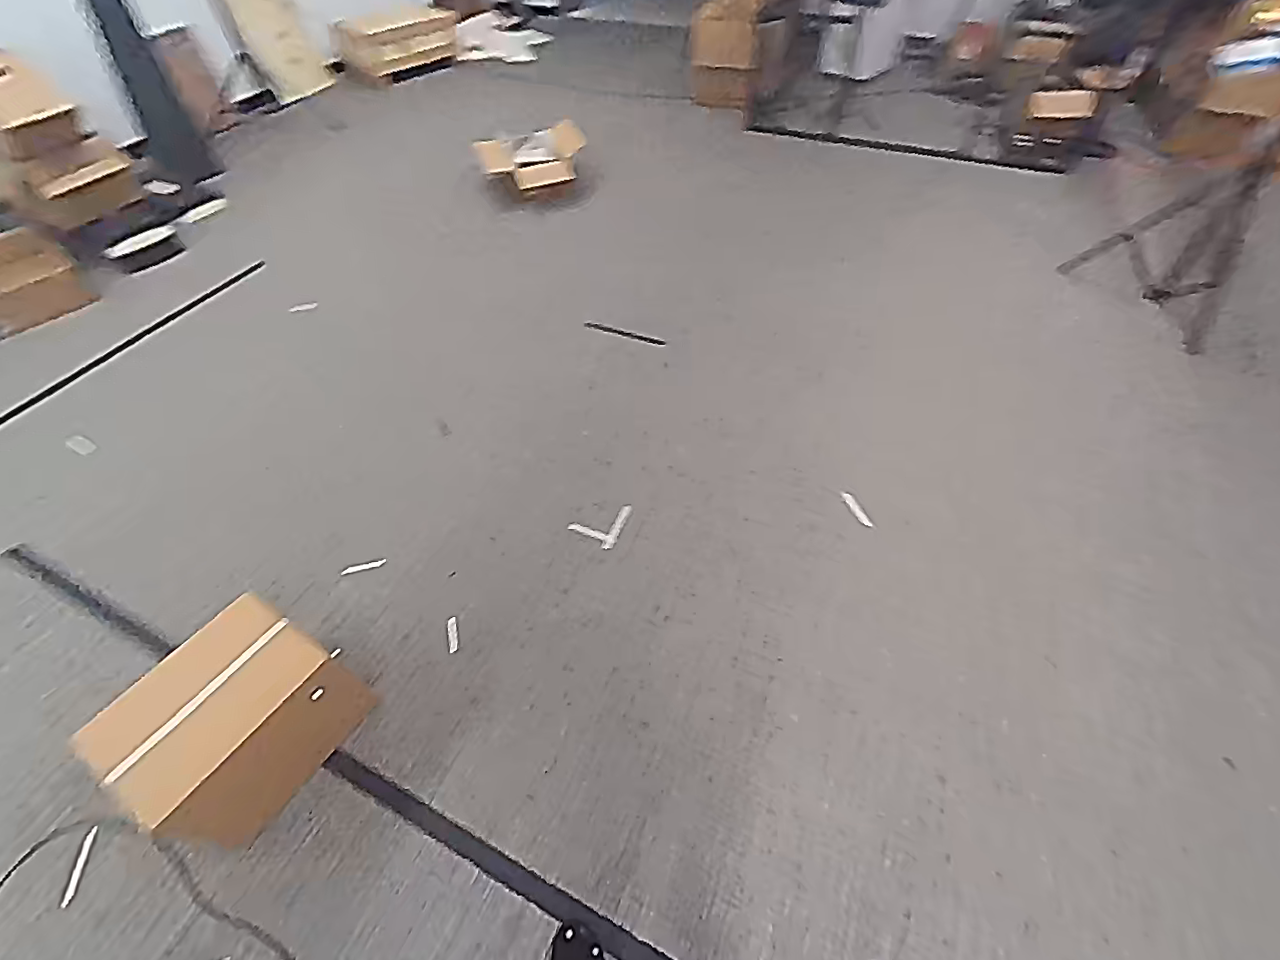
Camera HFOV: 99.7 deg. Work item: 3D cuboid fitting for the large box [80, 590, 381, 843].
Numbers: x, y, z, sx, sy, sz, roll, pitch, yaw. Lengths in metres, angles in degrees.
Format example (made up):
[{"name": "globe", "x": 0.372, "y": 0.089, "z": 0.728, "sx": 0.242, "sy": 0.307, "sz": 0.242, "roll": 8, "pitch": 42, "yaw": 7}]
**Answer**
[{"name": "large box", "x": -0.915, "y": 0.550, "z": 1.275, "sx": 0.320, "sy": 0.320, "sz": 0.408, "roll": 26, "pitch": 56, "yaw": 20}]
